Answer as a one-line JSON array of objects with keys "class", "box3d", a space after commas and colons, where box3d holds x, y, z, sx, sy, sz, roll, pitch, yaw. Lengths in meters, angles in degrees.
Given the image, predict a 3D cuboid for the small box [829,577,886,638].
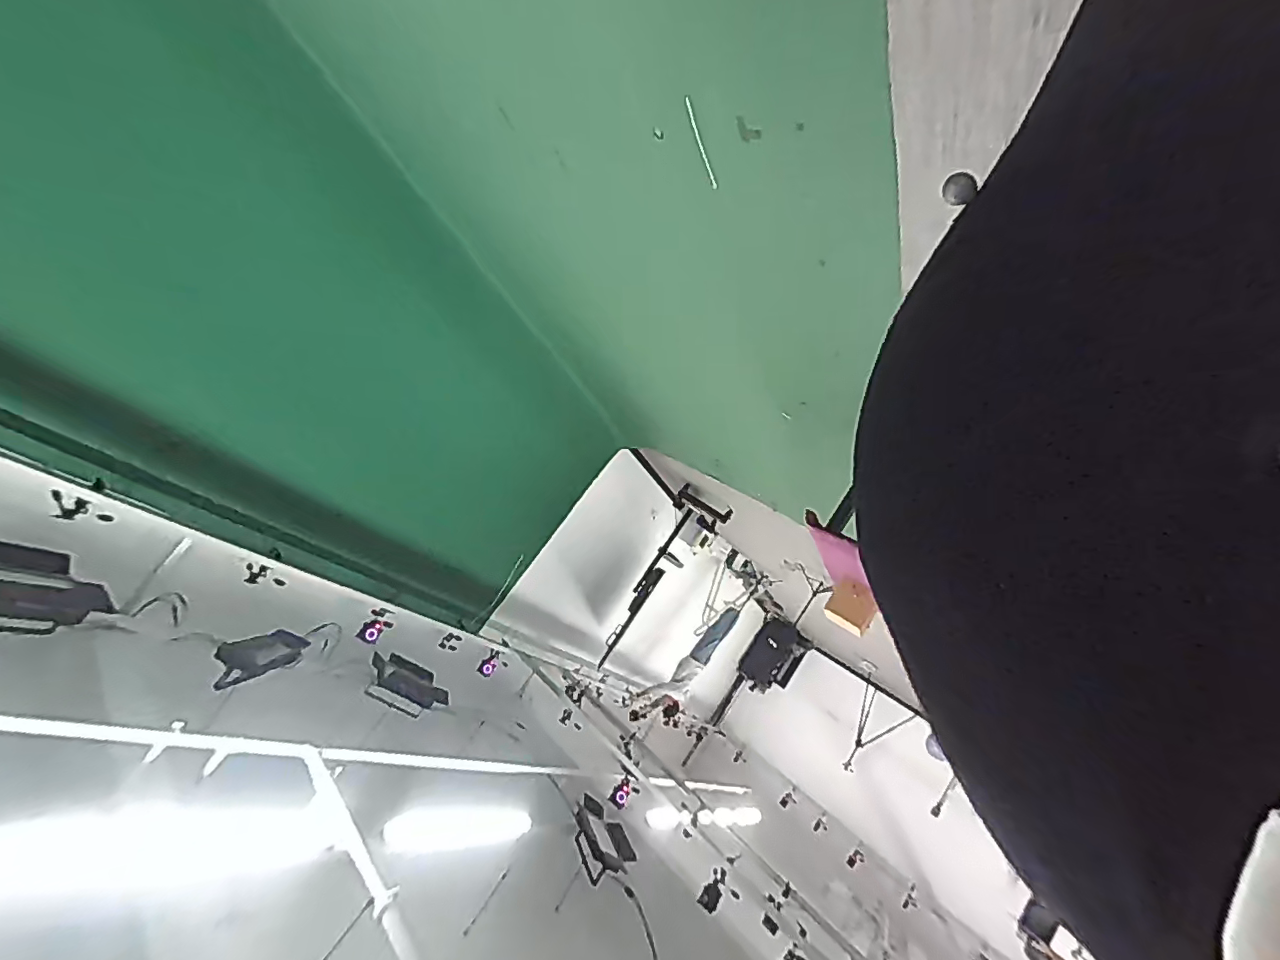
[{"class": "small box", "box3d": [0.931, 0.542, 2.304, 0.168, 0.176, 0.179, 29, 167, 33]}]
